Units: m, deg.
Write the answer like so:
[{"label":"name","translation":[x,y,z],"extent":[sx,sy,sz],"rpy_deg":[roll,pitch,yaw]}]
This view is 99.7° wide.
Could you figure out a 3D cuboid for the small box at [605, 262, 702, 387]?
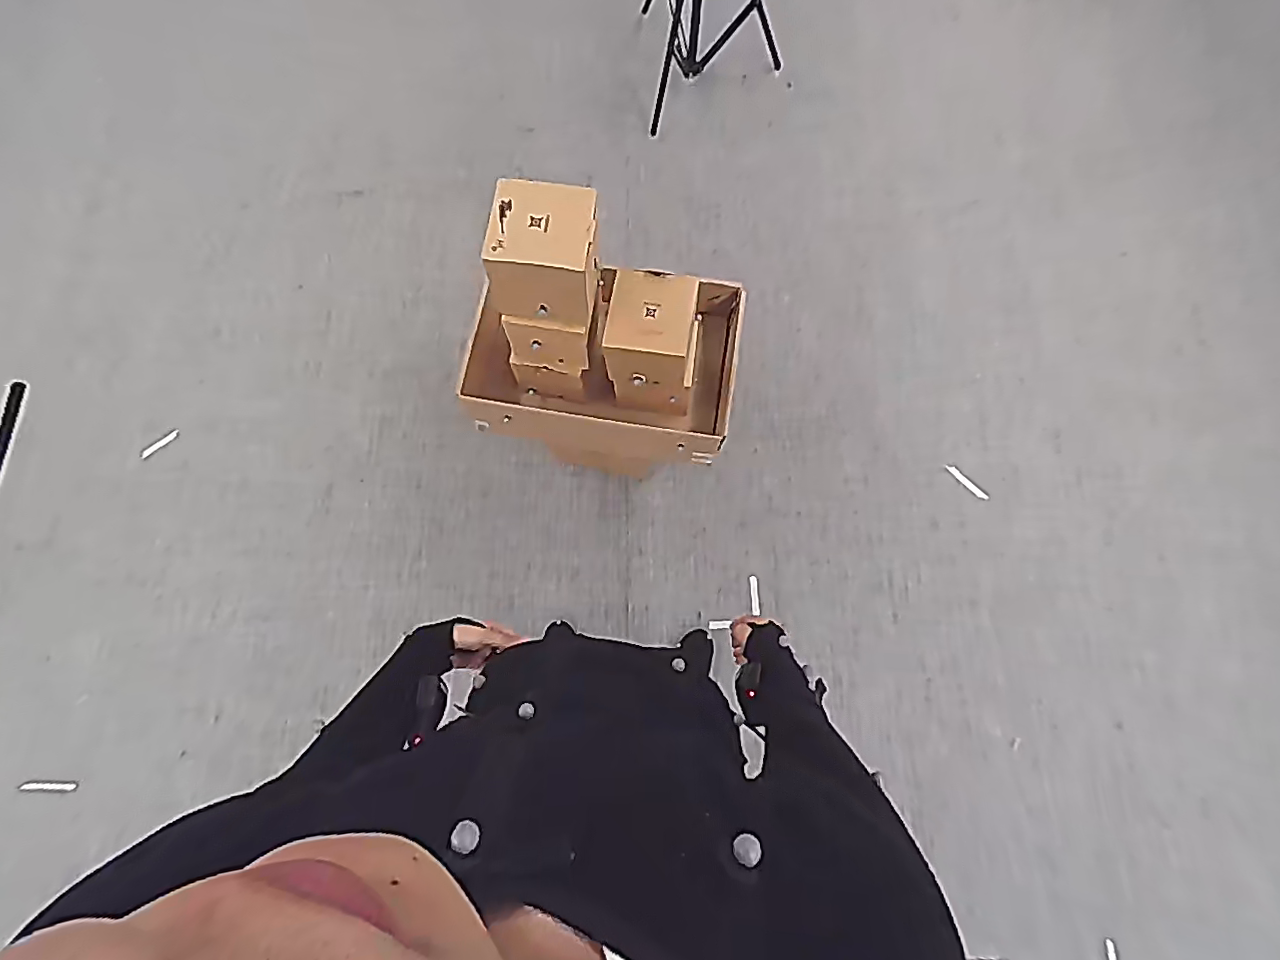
[{"label":"small box","translation":[0.029,-0.316,1.117],"extent":[0.168,0.176,0.179],"rpy_deg":[9,76,5]}]

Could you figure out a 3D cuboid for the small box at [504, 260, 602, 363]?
[{"label":"small box","translation":[-0.172,-0.365,1.133],"extent":[0.168,0.176,0.179],"rpy_deg":[9,75,0]}]

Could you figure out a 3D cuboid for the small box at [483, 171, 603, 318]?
[{"label":"small box","translation":[-0.164,-0.415,0.977],"extent":[0.179,0.176,0.168],"rpy_deg":[8,75,-1]}]
